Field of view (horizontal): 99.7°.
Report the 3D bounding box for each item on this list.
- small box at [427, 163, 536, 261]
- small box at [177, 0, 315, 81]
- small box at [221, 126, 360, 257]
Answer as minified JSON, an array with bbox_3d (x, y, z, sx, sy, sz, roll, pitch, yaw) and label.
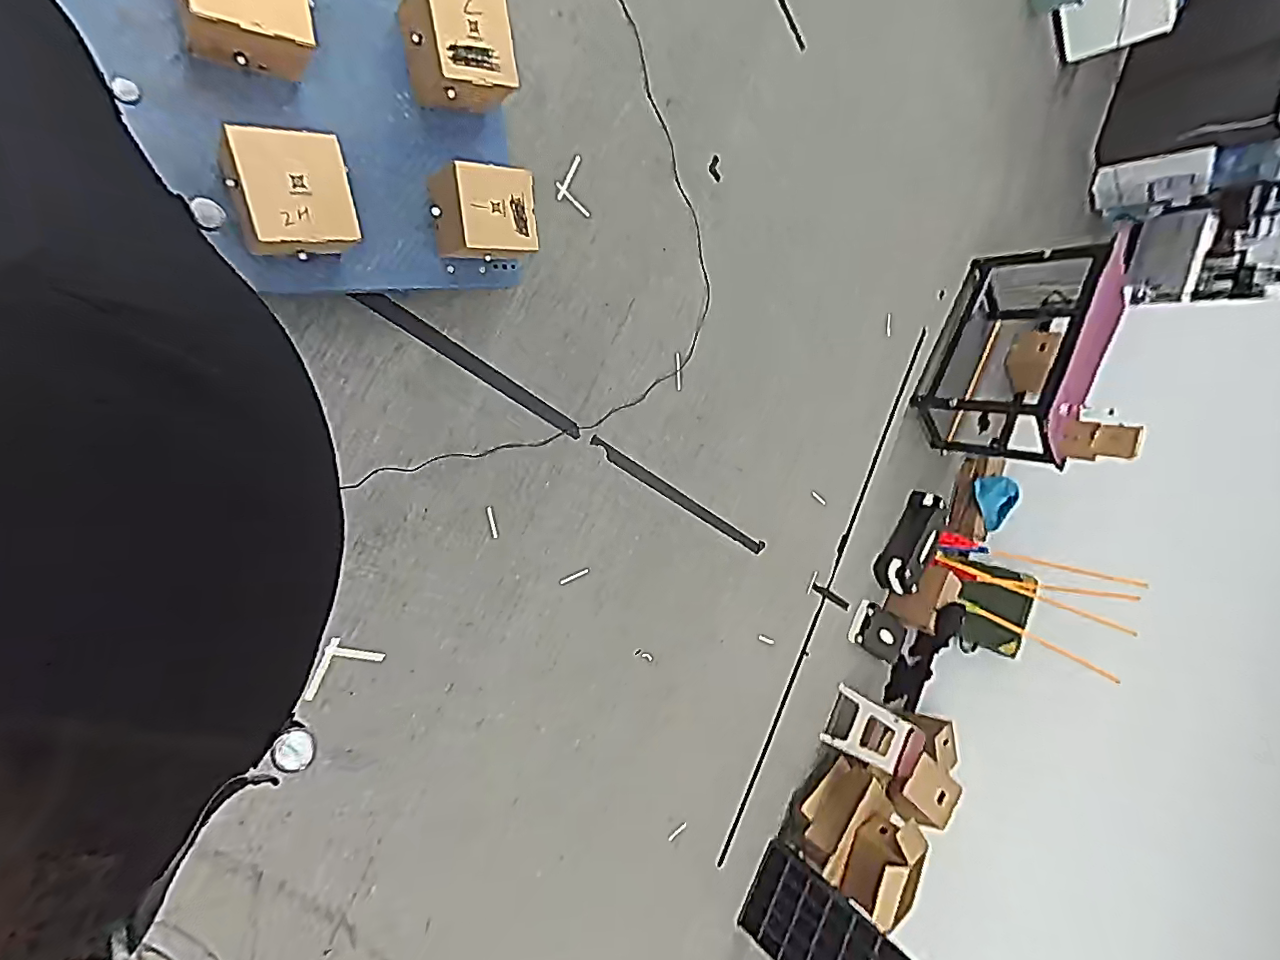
[{"bbox_3d":[-0.357,-0.595,1.222,0.179,0.176,0.168,-16,111,-37],"label":"small box"},{"bbox_3d":[-0.665,-0.811,0.899,0.168,0.176,0.179,-14,111,-39],"label":"small box"},{"bbox_3d":[-0.642,-0.515,0.991,0.168,0.176,0.179,-20,113,-36],"label":"small box"}]
